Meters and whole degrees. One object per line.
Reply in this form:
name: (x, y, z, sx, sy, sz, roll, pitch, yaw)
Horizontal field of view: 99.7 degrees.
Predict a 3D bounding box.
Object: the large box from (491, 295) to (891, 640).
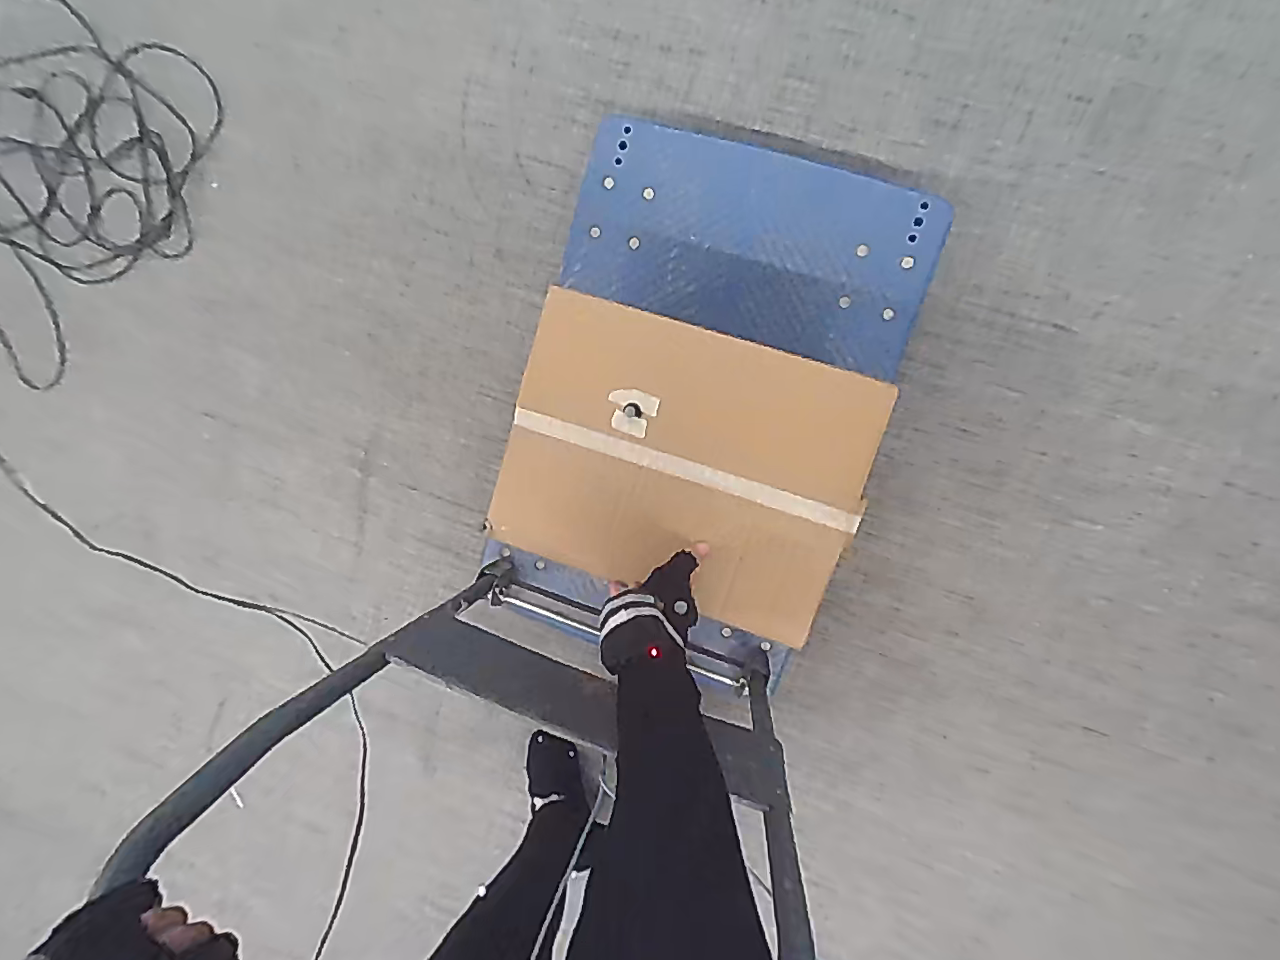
large box: (0.069, -0.032, 0.767, 0.408, 0.320, 0.320, 18, 99, 8)
